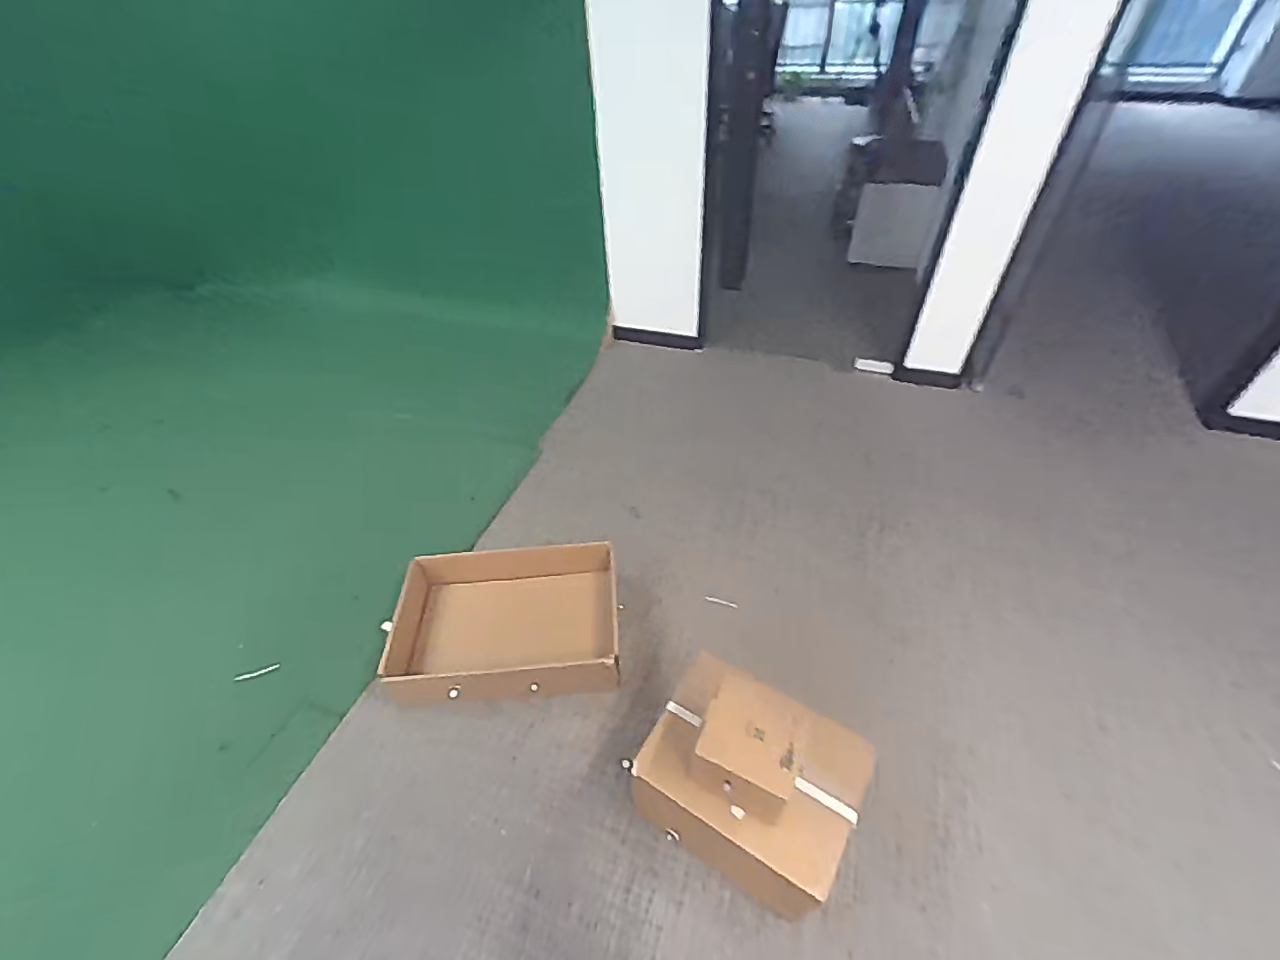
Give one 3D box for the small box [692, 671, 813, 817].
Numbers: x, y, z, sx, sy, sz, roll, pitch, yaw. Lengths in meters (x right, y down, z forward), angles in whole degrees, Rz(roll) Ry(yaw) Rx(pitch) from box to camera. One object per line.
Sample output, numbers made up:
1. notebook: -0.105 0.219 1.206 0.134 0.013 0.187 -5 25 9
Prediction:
1. small box: 0.208 0.501 1.023 0.179 0.176 0.168 18 49 21
